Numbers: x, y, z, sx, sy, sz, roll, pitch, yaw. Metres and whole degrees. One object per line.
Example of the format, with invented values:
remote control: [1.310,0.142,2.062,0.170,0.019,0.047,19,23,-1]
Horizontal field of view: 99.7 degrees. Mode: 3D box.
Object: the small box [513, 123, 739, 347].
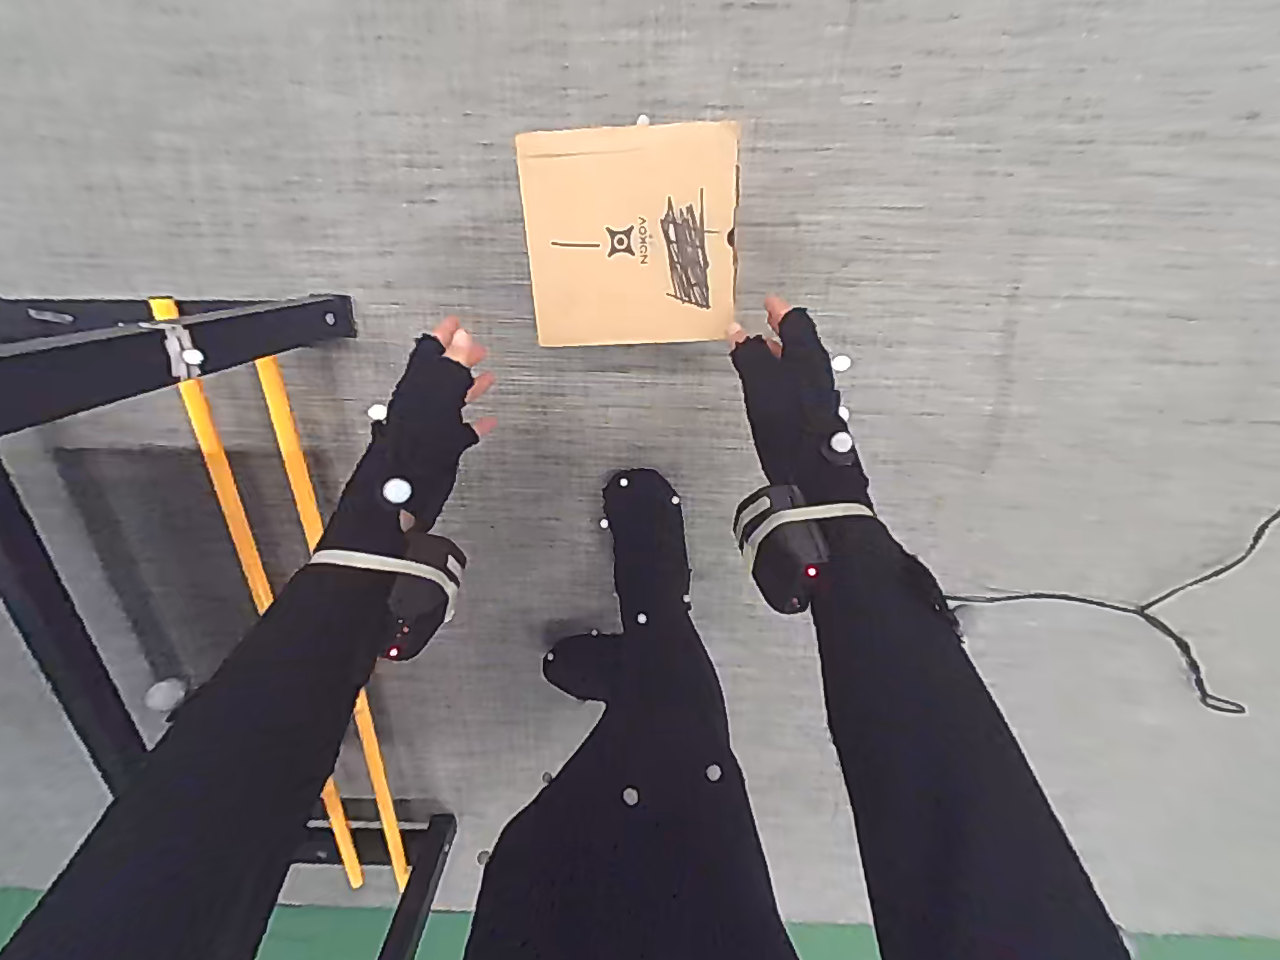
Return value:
small box: [-0.006,-0.226,0.513,0.179,0.176,0.168,-1,114,4]
